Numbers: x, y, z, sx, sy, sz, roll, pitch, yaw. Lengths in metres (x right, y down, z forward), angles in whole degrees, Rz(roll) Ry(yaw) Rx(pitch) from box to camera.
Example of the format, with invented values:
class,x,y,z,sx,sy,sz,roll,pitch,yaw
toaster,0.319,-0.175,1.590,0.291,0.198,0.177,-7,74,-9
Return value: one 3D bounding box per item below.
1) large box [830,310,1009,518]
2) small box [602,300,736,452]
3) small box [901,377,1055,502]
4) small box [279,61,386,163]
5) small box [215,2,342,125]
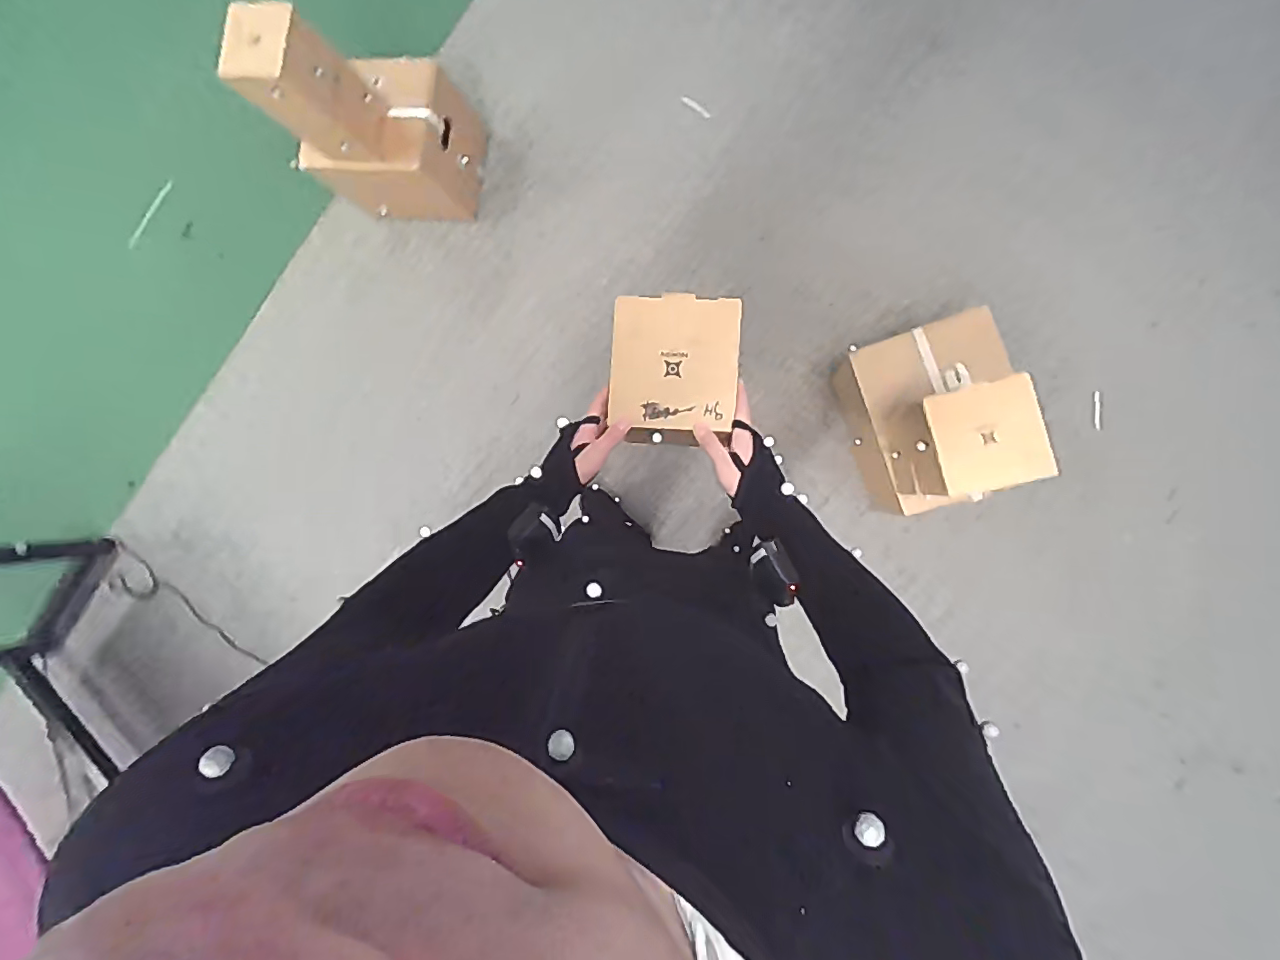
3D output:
class,x,y,z,sx,sy,sz,roll,pitch,yaw
large box,0.709,-0.142,1.357,0.320,0.320,0.408,-18,85,10
small box,0.043,-0.139,0.771,0.168,0.176,0.179,3,88,6
small box,0.588,-0.065,0.964,0.168,0.176,0.179,-15,85,13
small box,-0.807,-0.971,1.435,0.179,0.176,0.168,9,91,12
small box,-0.842,-0.972,1.274,0.179,0.176,0.168,11,91,12
